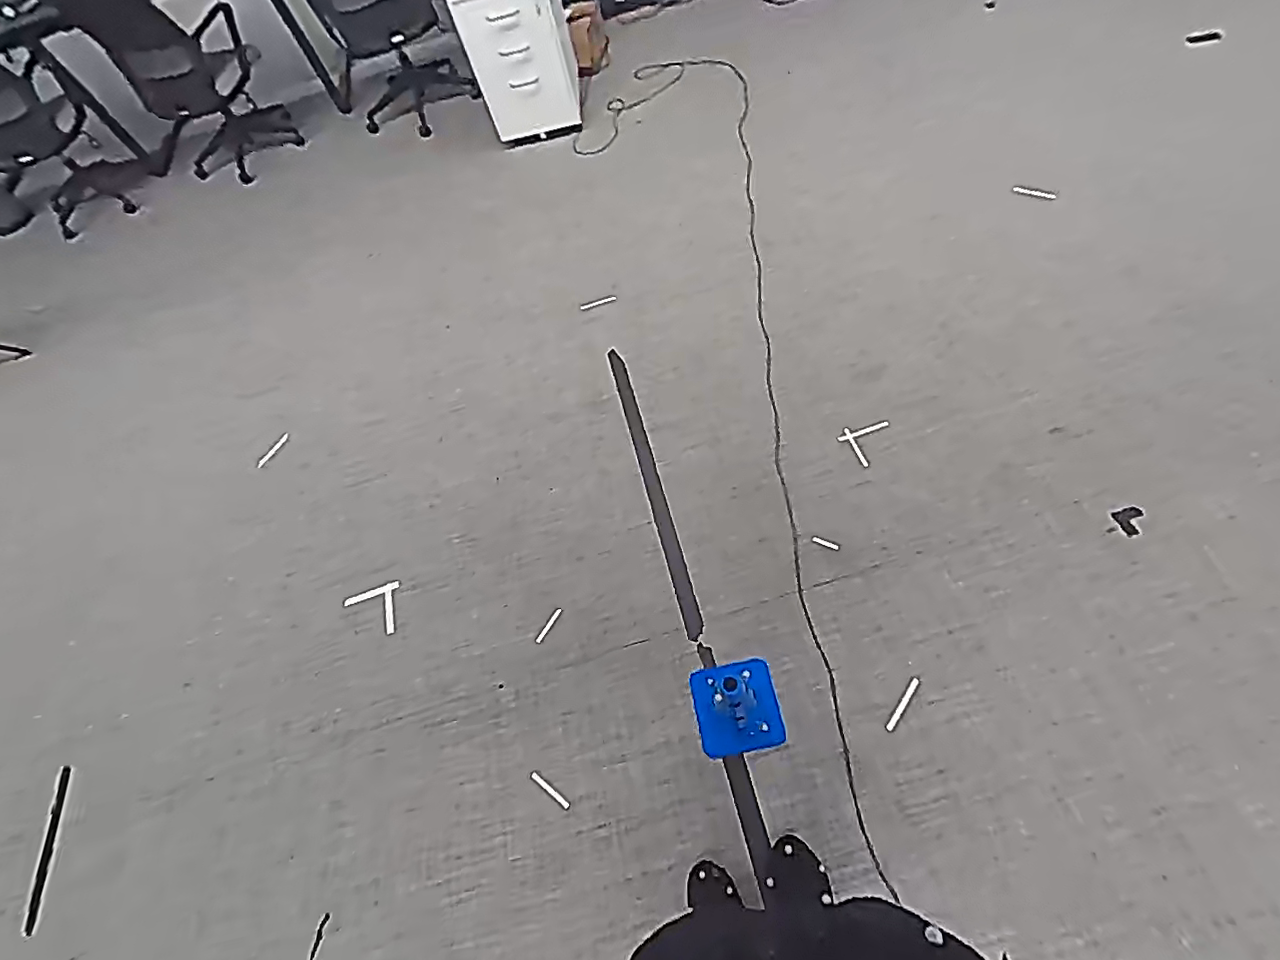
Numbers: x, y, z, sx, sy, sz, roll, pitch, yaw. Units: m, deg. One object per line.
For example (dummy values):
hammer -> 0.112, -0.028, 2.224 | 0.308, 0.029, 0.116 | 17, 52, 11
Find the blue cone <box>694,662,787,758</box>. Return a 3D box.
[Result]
blue cone -> 0.206, 0.462, 1.147 | 0.193, 0.380, 0.192 | -15, 59, 3
